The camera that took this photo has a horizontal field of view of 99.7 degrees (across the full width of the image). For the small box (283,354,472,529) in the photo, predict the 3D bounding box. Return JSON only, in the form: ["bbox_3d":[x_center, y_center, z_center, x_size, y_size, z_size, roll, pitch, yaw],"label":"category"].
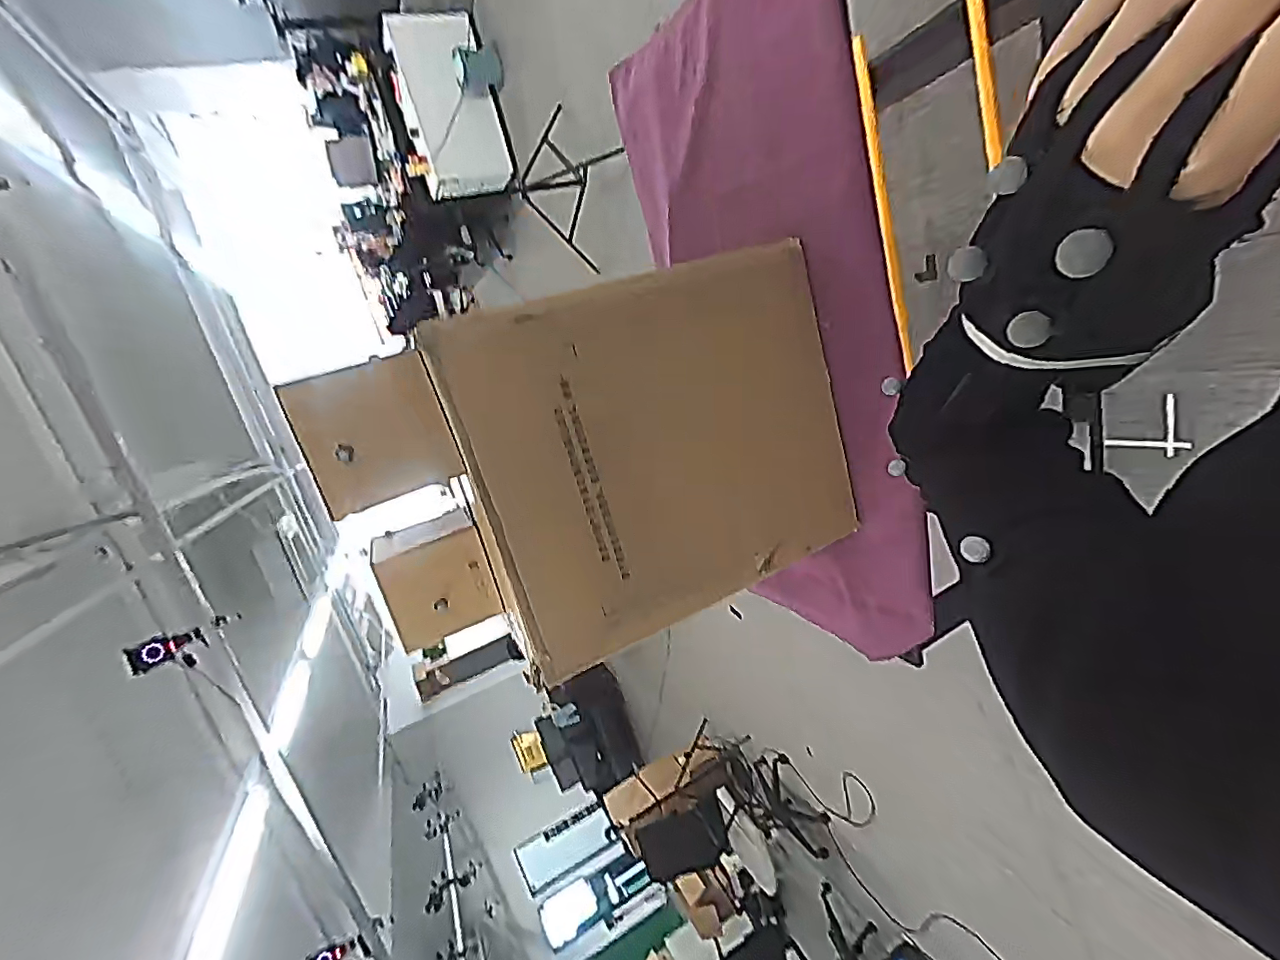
[{"bbox_3d":[-0.342,-0.054,0.737,0.168,0.176,0.179,8,118,67],"label":"small box"}]

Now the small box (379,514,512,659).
[{"bbox_3d":[-0.337,0.172,0.944,0.179,0.176,0.168,20,127,64],"label":"small box"}]
